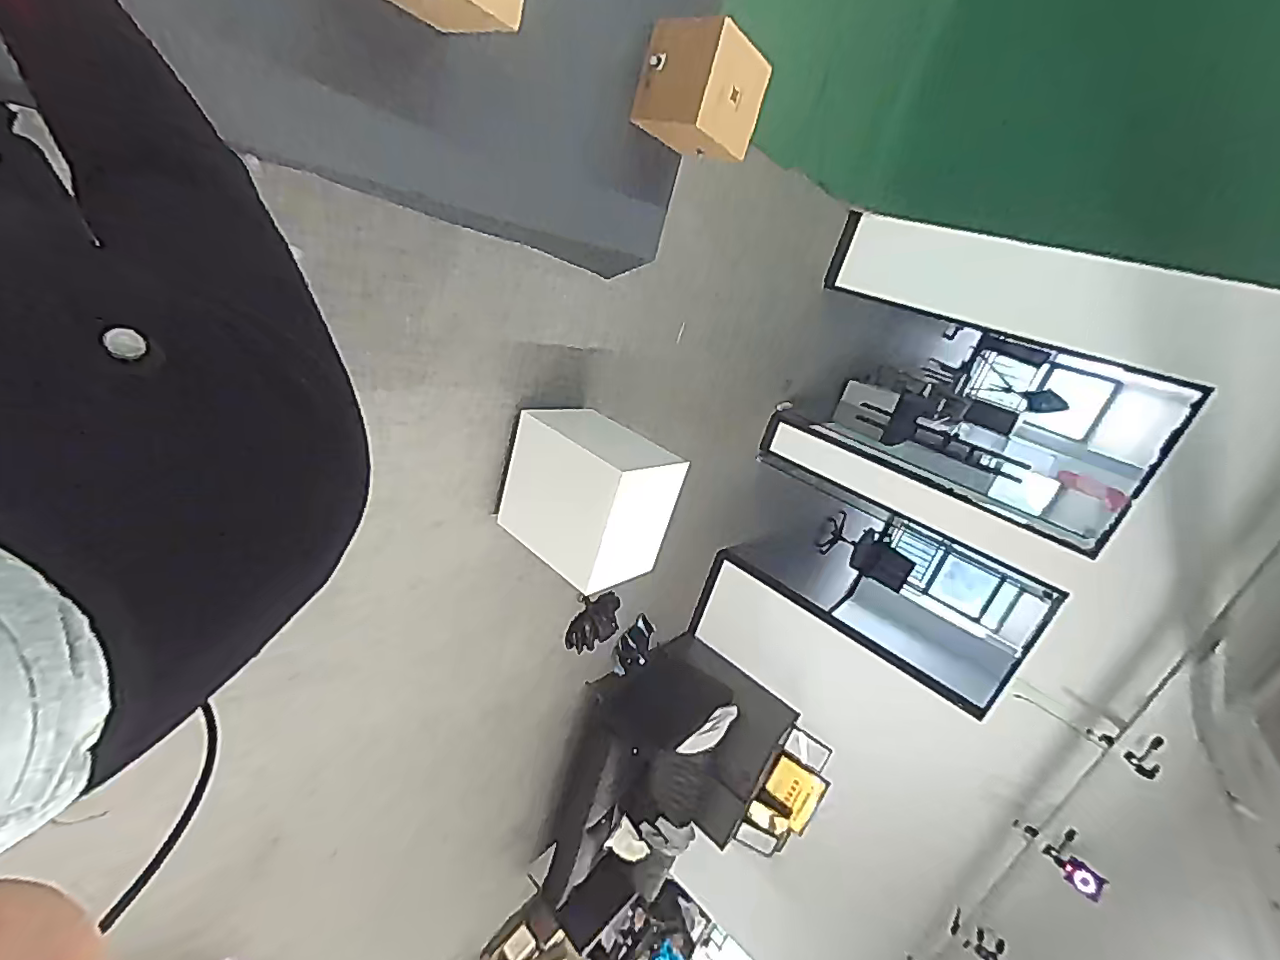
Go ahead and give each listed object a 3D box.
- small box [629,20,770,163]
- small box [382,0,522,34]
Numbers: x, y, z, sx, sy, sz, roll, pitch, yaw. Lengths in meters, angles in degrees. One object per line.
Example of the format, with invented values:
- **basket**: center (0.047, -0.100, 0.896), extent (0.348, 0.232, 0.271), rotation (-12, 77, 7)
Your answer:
- **small box**: center (0.109, -0.723, 1.016), extent (0.179, 0.176, 0.168), rotation (-9, 122, -50)
- **small box**: center (-0.242, -0.632, 0.600), extent (0.179, 0.176, 0.168), rotation (-12, 126, -51)
